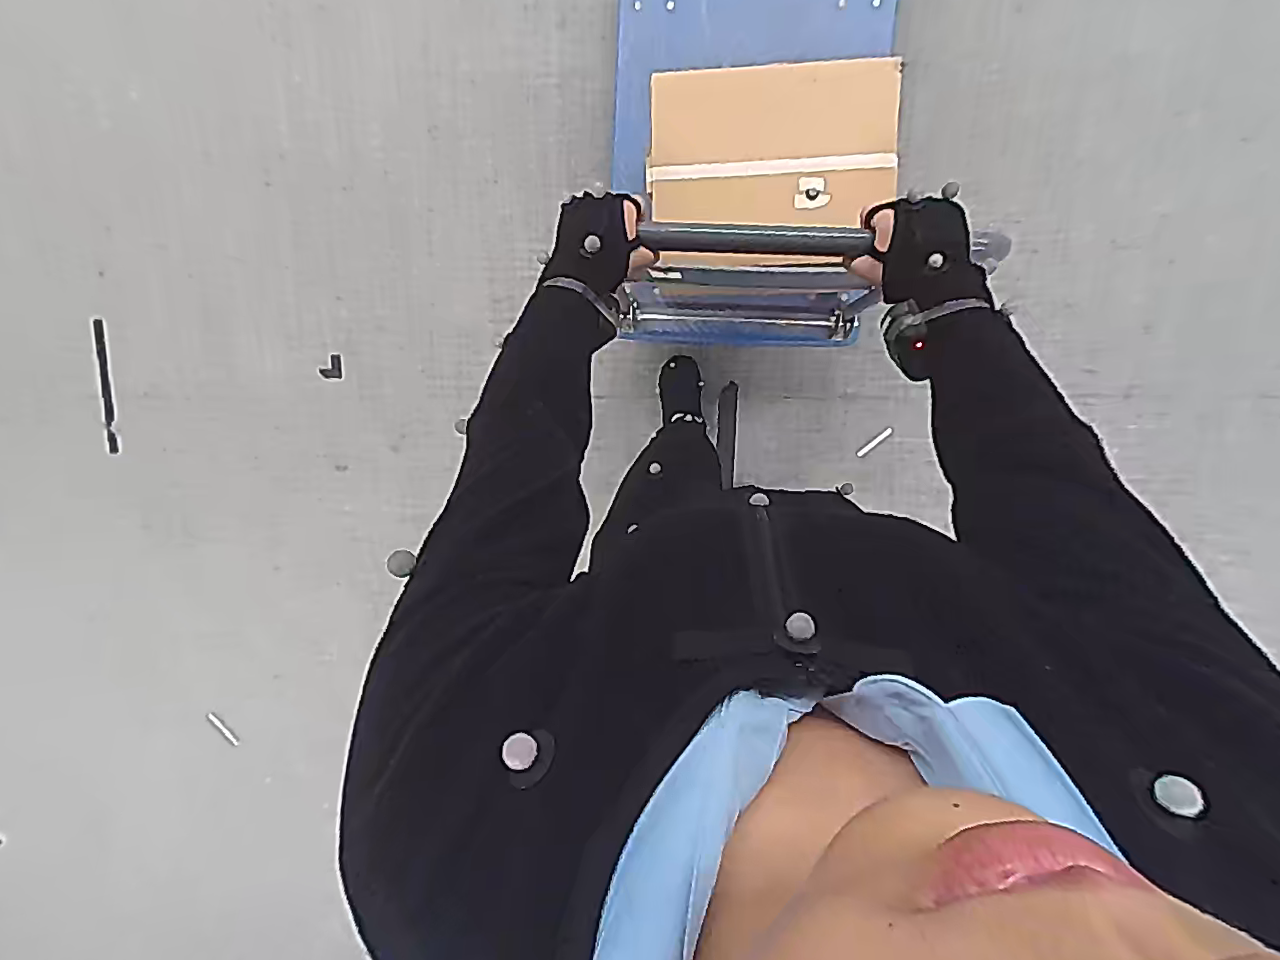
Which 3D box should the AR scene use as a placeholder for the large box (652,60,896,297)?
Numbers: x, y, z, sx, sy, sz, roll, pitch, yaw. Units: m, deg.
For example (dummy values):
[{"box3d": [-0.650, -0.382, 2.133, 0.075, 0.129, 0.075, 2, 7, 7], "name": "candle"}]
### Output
[{"box3d": [0.234, -0.554, 1.067, 0.408, 0.320, 0.320, 0, 100, 4], "name": "large box"}]
